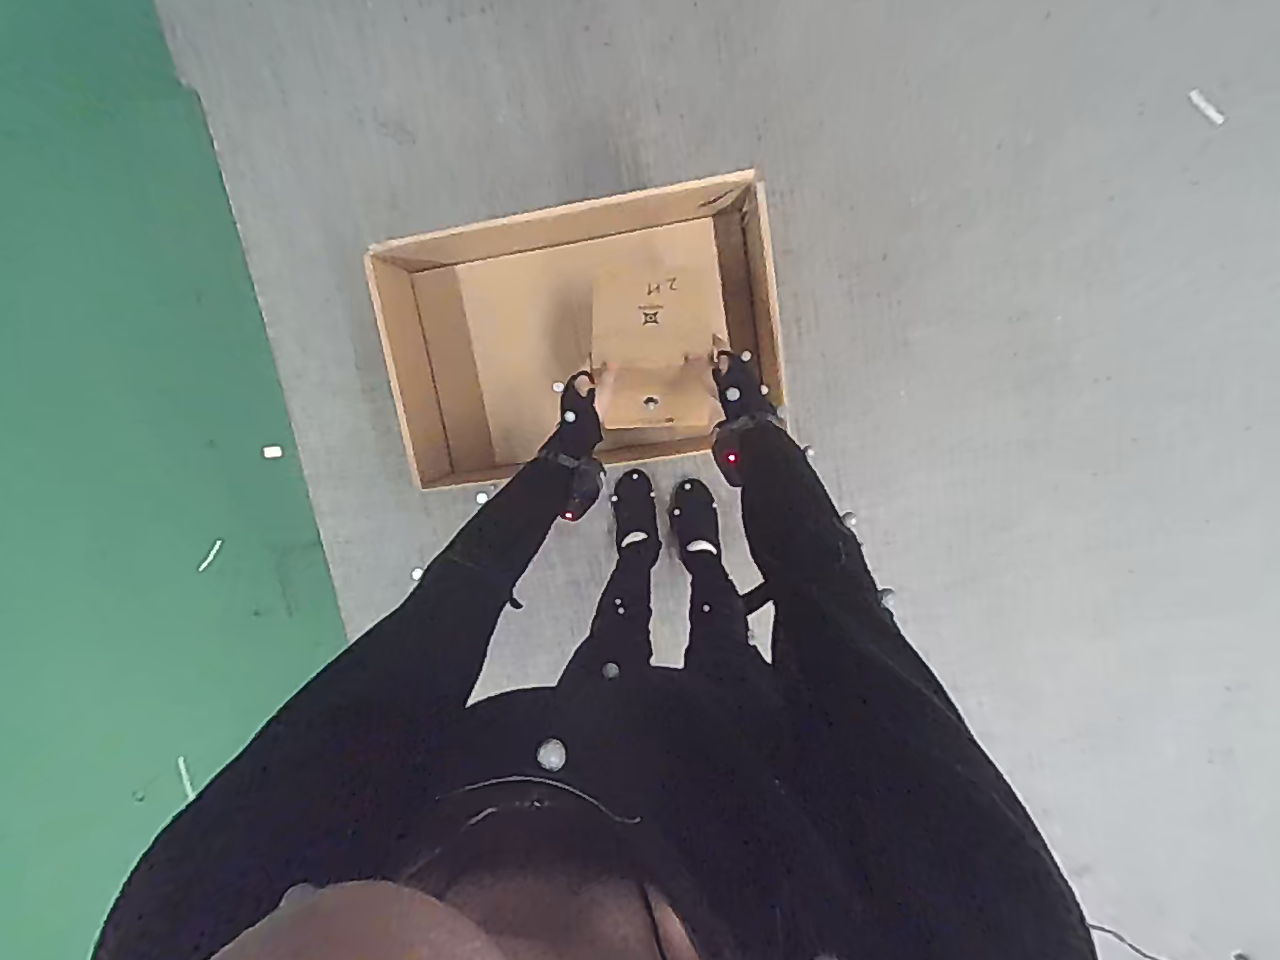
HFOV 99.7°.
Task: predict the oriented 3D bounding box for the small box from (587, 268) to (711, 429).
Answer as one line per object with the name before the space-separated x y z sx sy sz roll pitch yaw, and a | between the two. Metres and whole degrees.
small box | 0.017 -0.187 0.808 0.168 0.176 0.179 -1 64 2
